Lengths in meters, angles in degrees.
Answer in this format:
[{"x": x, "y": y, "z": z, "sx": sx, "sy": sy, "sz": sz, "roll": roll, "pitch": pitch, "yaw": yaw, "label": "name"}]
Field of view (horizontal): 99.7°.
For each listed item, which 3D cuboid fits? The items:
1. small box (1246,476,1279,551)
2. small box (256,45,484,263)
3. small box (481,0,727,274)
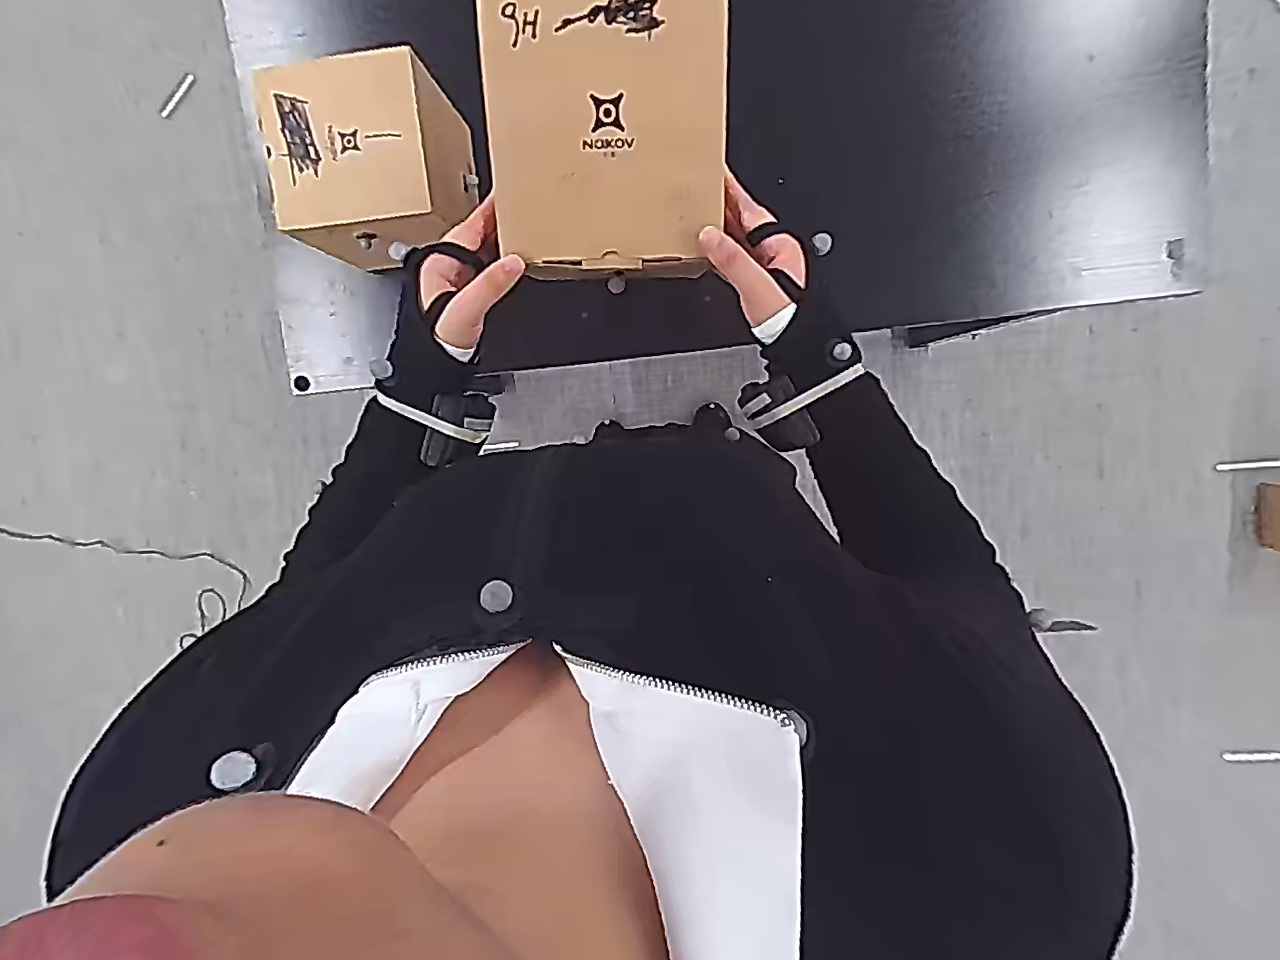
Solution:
[{"x": 1.644, "y": 0.087, "z": 1.314, "sx": 0.168, "sy": 0.176, "sz": 0.179, "roll": -6, "pitch": 97, "yaw": 5, "label": "small box"}, {"x": -0.307, "y": -0.371, "z": 0.650, "sx": 0.179, "sy": 0.176, "sz": 0.168, "roll": -5, "pitch": 97, "yaw": 3, "label": "small box"}, {"x": -0.022, "y": -0.268, "z": 0.456, "sx": 0.168, "sy": 0.176, "sz": 0.179, "roll": -1, "pitch": 108, "yaw": 0, "label": "small box"}]
